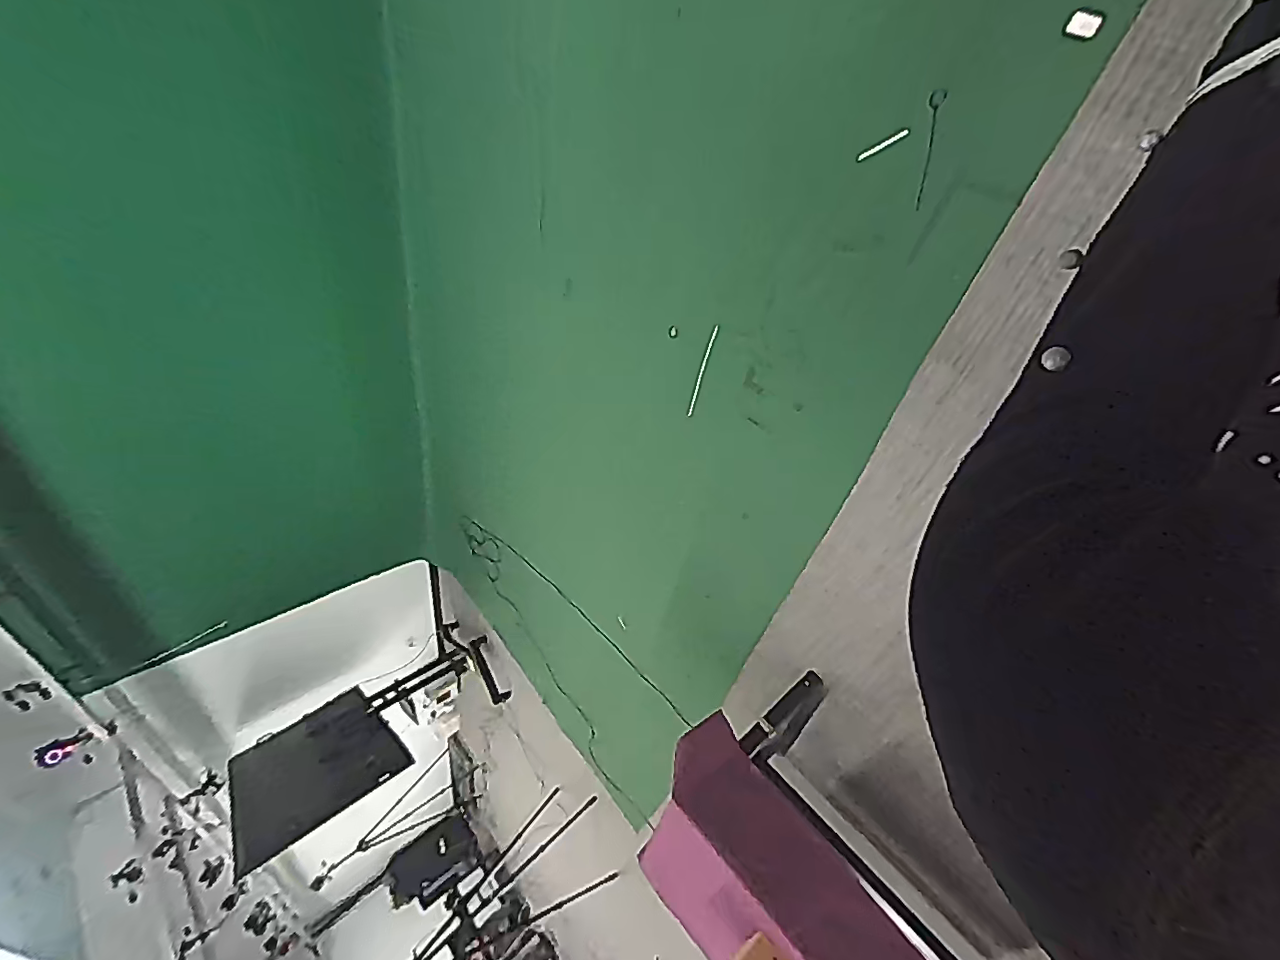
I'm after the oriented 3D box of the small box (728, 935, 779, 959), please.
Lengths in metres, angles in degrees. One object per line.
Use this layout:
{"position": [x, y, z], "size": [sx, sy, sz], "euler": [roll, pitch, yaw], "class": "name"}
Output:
{"position": [0.292, 1.332, 1.397], "size": [0.168, 0.176, 0.179], "euler": [41, 136, 30], "class": "small box"}
